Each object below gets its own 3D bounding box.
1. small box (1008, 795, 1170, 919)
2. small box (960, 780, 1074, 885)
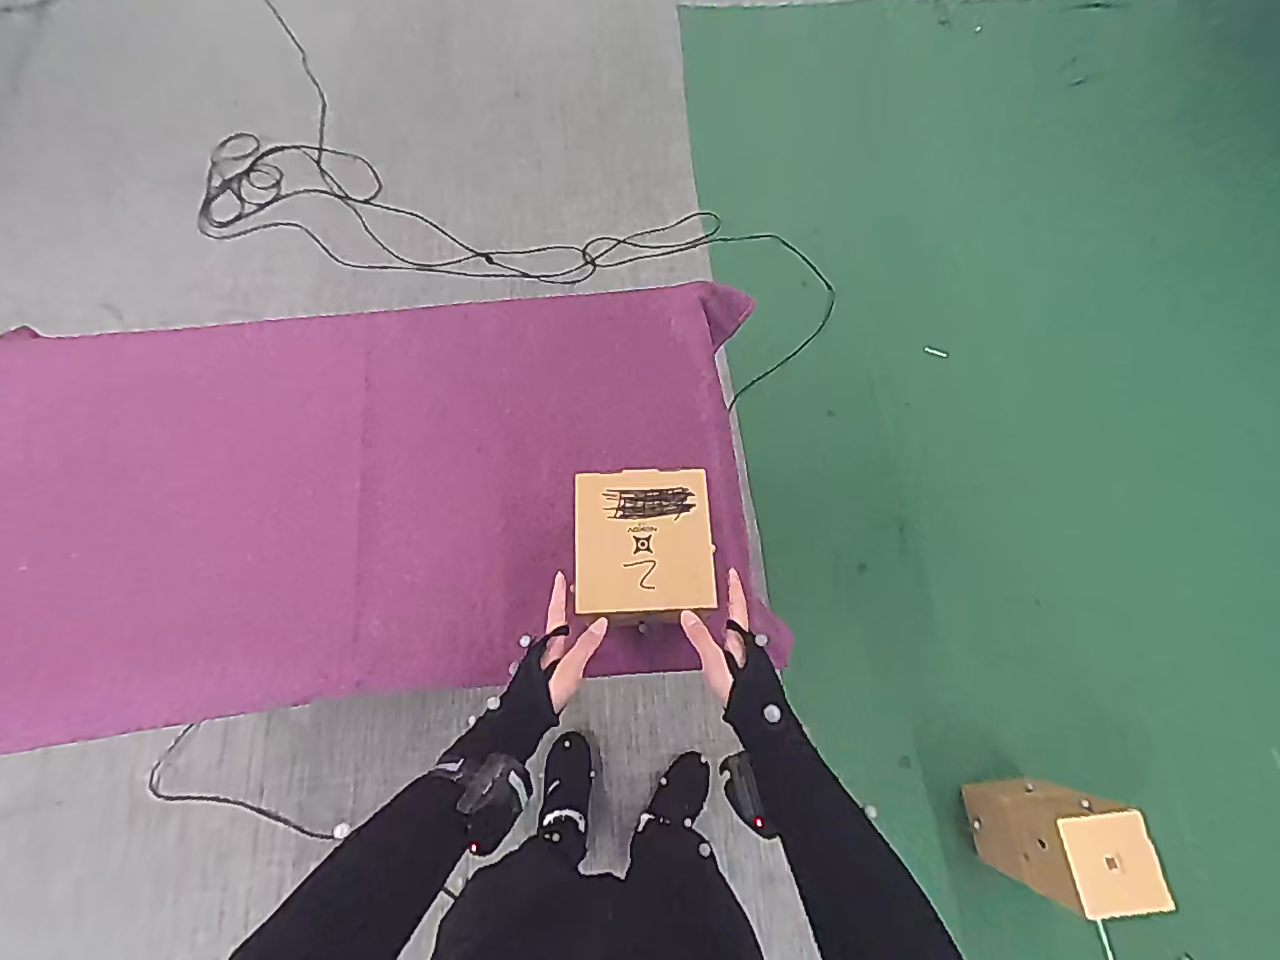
[{"bbox_3d":[0.899,0.762,1.110,0.179,0.176,0.168,-4,70,-4],"label":"small box"},{"bbox_3d":[0.895,0.813,1.263,0.179,0.176,0.168,-5,71,-2],"label":"small box"}]
